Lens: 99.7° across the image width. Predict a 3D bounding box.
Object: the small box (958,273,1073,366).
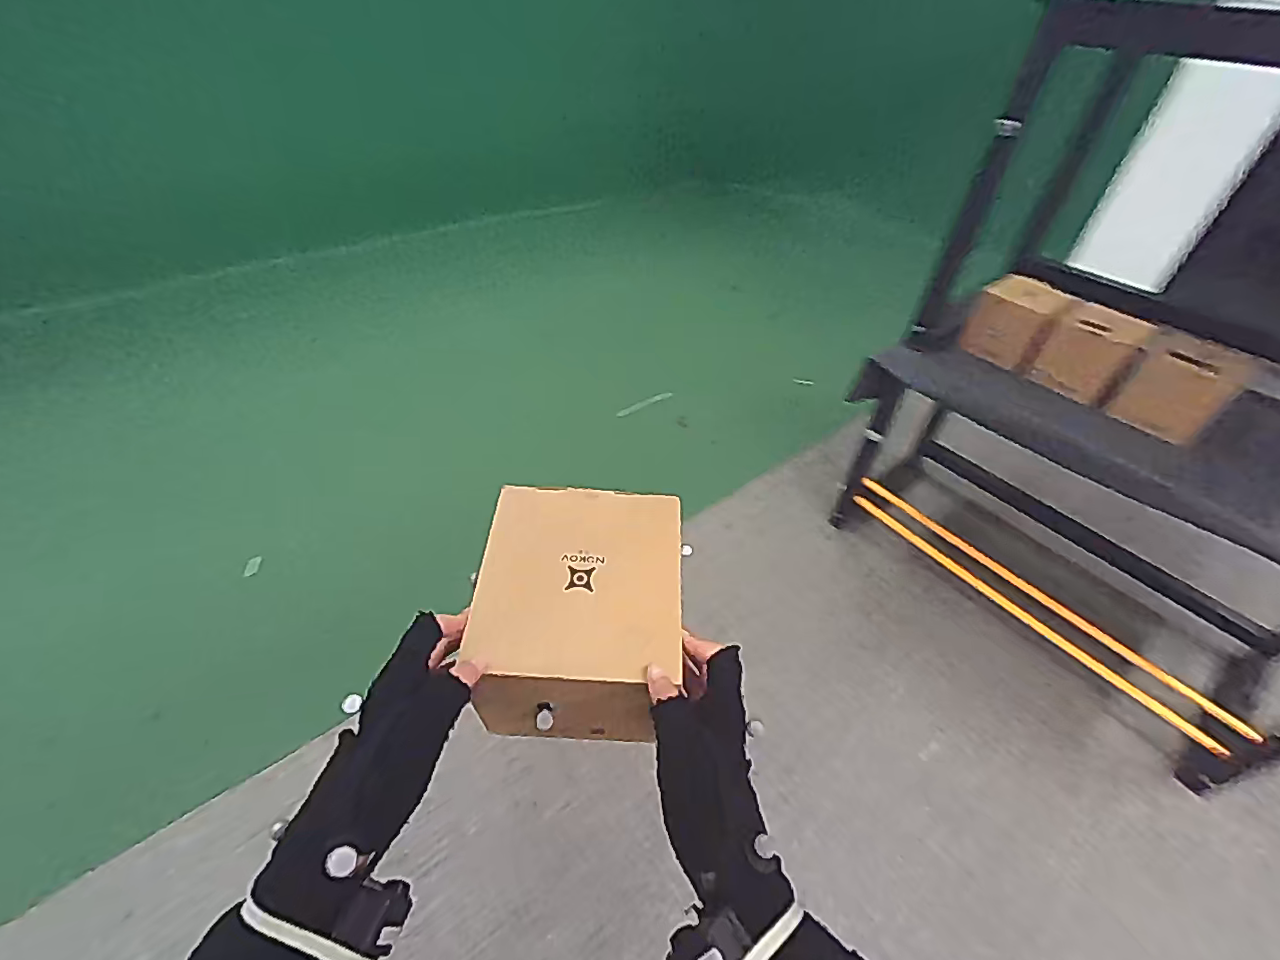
[{"bbox_3d":[0.993,-0.428,1.448,0.179,0.176,0.168,-26,52,-27],"label":"small box"}]
